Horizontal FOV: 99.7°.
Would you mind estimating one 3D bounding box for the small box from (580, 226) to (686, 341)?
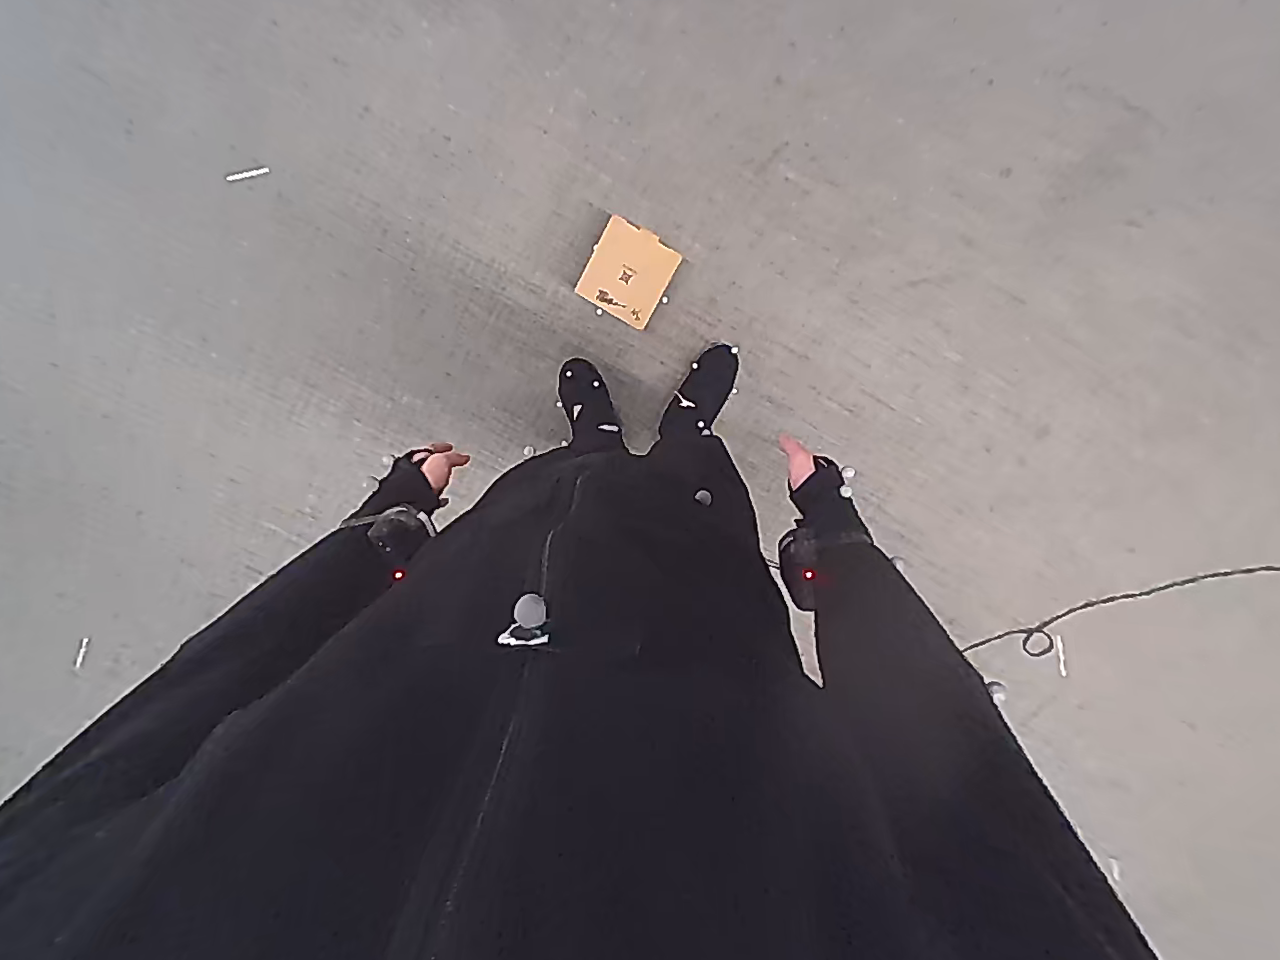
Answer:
[{"bbox_3d":[-0.016,-0.428,1.204,0.168,0.176,0.179,30,103,-6],"label":"small box"}]
